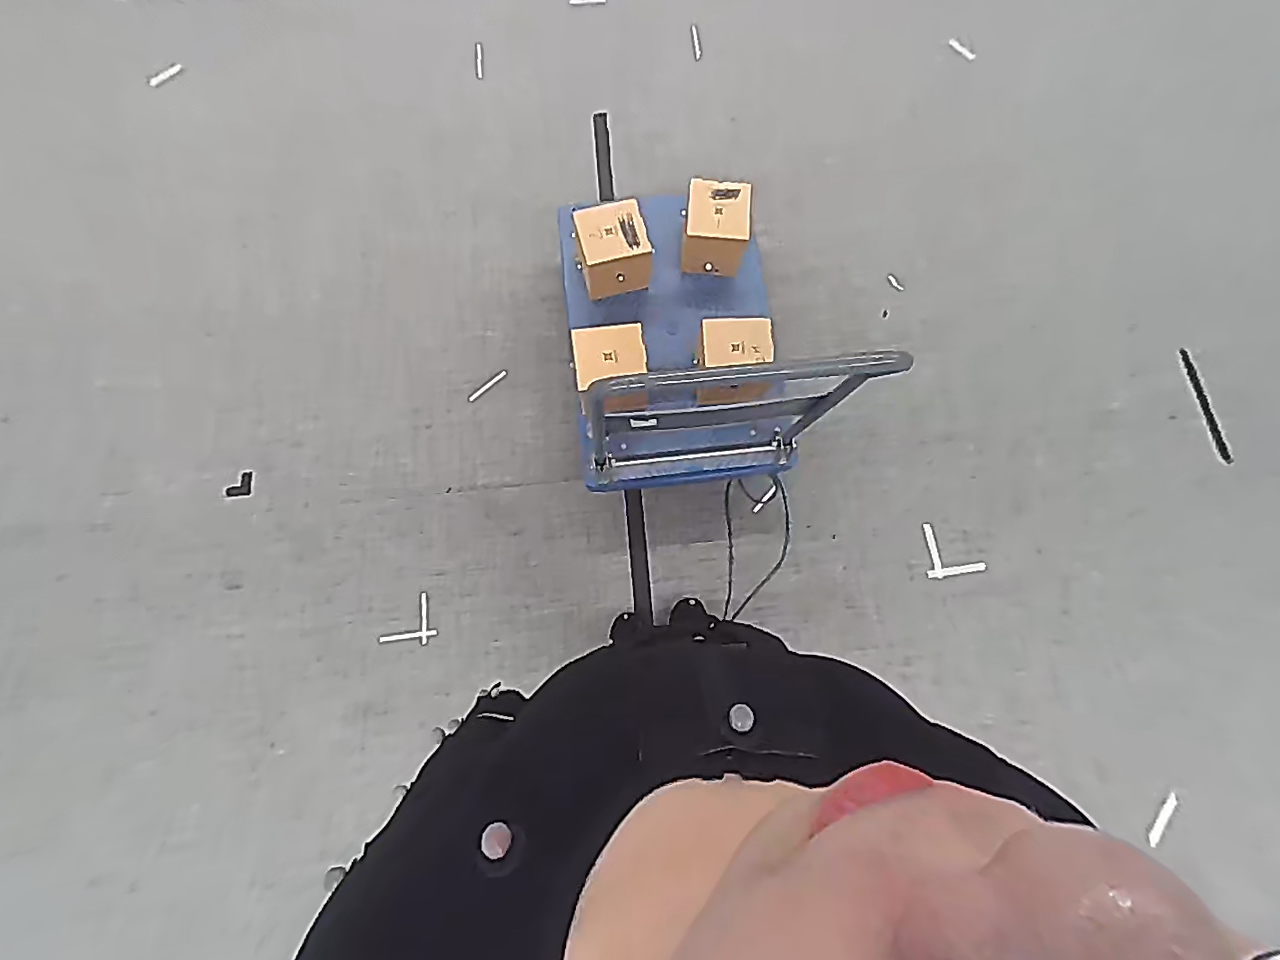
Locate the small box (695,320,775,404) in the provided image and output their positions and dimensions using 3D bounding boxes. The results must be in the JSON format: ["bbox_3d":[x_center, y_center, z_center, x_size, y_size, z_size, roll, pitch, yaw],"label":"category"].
[{"bbox_3d":[0.239,-0.302,1.411,0.179,0.176,0.168,-1,77,-2],"label":"small box"}]

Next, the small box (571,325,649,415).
[{"bbox_3d":[-0.078,-0.277,1.394,0.179,0.176,0.168,-7,77,-5],"label":"small box"}]

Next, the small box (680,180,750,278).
[{"bbox_3d":[0.203,-0.692,1.503,0.168,0.176,0.179,4,77,-1],"label":"small box"}]
